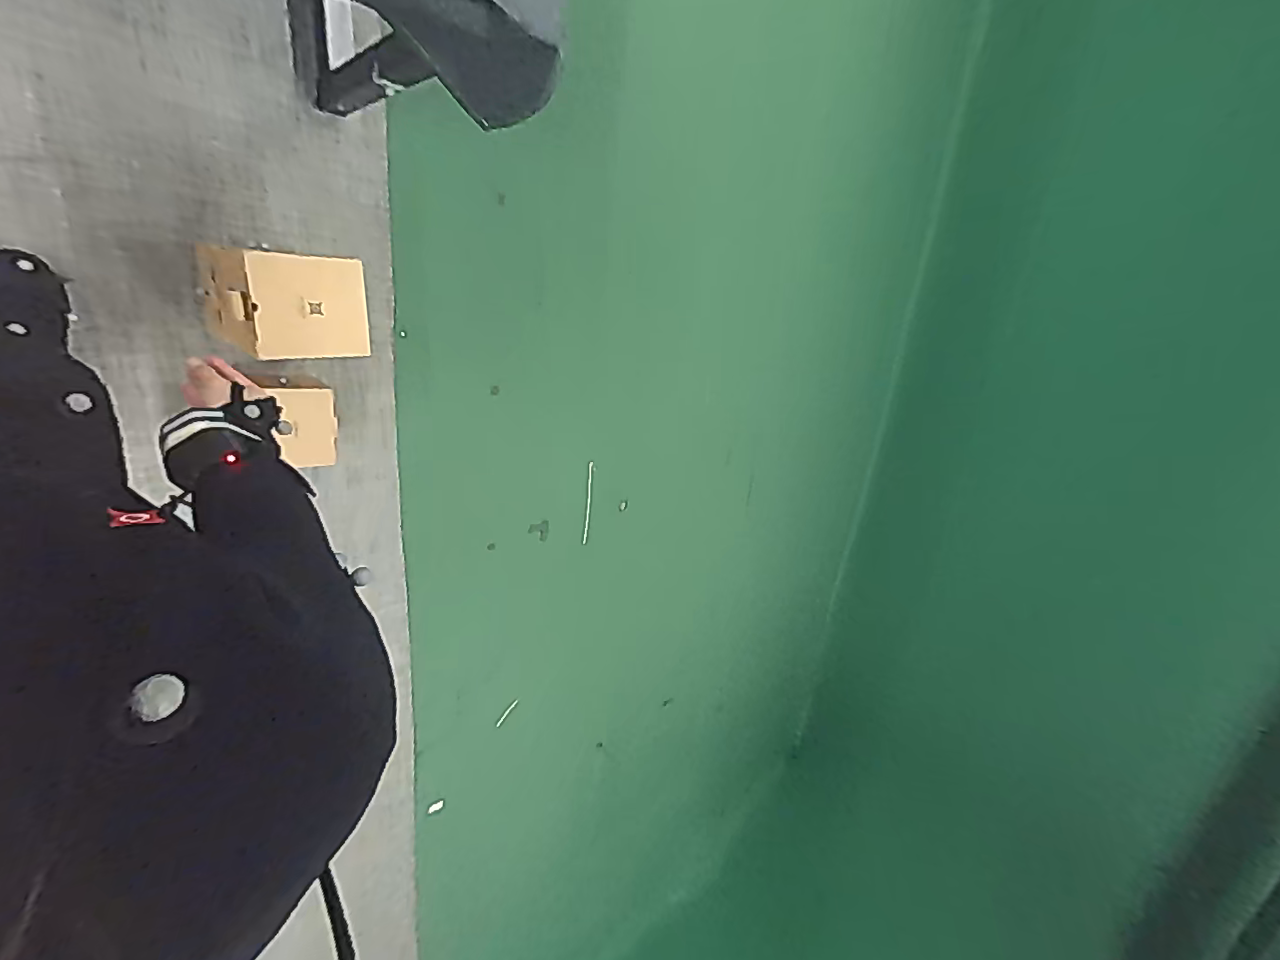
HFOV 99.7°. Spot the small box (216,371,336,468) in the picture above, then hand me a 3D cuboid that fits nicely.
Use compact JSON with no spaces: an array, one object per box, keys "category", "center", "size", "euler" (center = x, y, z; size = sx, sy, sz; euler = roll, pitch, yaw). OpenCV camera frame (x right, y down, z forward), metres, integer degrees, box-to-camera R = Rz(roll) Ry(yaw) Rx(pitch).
[{"category":"small box","center":[-0.754,-0.132,1.123],"size":[0.179,0.176,0.168],"euler":[-9,113,-43]}]

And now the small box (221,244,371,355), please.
[{"category":"small box","center":[-0.599,-0.317,0.948],"size":[0.179,0.176,0.168],"euler":[-15,119,-42]}]

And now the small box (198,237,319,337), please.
[{"category":"small box","center":[-0.727,-0.365,1.042],"size":[0.179,0.176,0.168],"euler":[-13,116,-43]}]
